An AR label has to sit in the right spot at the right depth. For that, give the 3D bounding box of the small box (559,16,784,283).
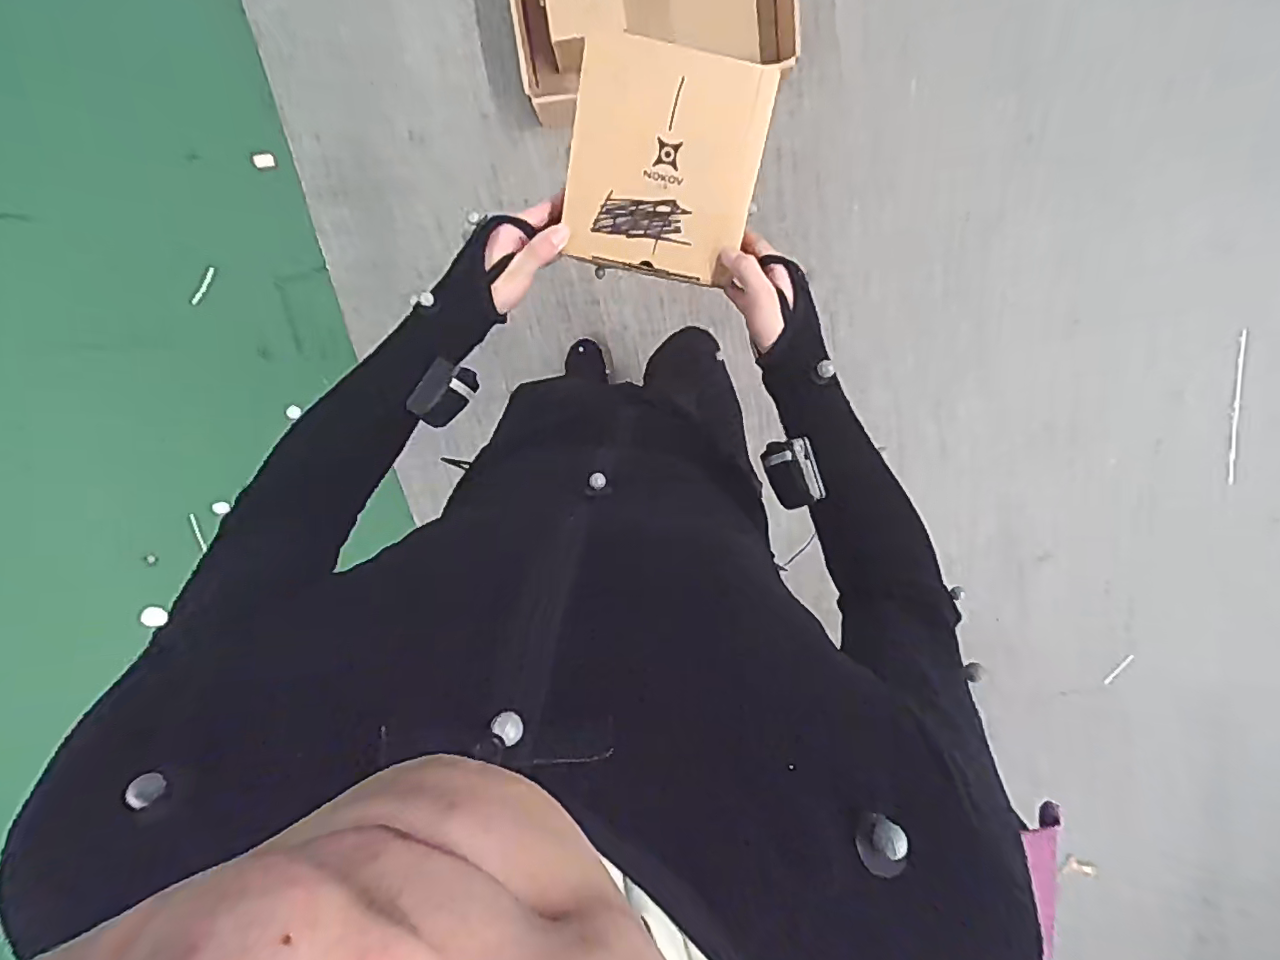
[{"bbox_3d":[0.024,-0.302,0.540,0.168,0.176,0.179,10,108,-4],"label":"small box"}]

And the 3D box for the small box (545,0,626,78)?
[{"bbox_3d":[-0.122,-1.037,1.199,0.168,0.176,0.179,-8,106,1],"label":"small box"}]
